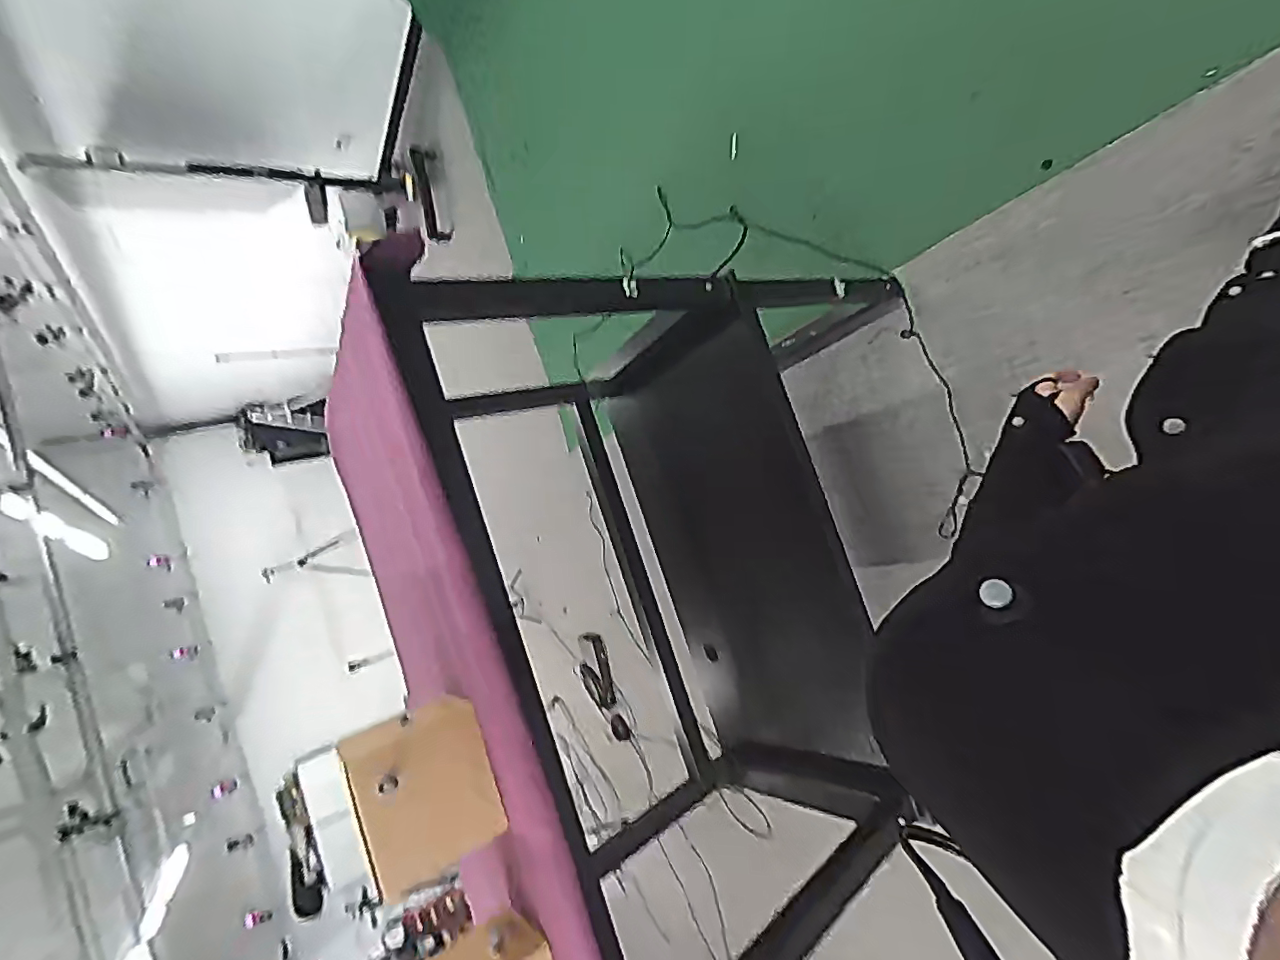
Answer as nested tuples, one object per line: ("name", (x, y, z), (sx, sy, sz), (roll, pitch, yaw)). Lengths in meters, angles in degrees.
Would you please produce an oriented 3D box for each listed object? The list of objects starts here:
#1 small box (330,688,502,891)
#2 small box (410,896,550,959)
("small box", (-0.320, 0.417, 0.768), (0.168, 0.176, 0.179), (-24, 83, 55))
("small box", (-0.207, 0.727, 0.733), (0.168, 0.176, 0.179), (-30, 77, 53))
